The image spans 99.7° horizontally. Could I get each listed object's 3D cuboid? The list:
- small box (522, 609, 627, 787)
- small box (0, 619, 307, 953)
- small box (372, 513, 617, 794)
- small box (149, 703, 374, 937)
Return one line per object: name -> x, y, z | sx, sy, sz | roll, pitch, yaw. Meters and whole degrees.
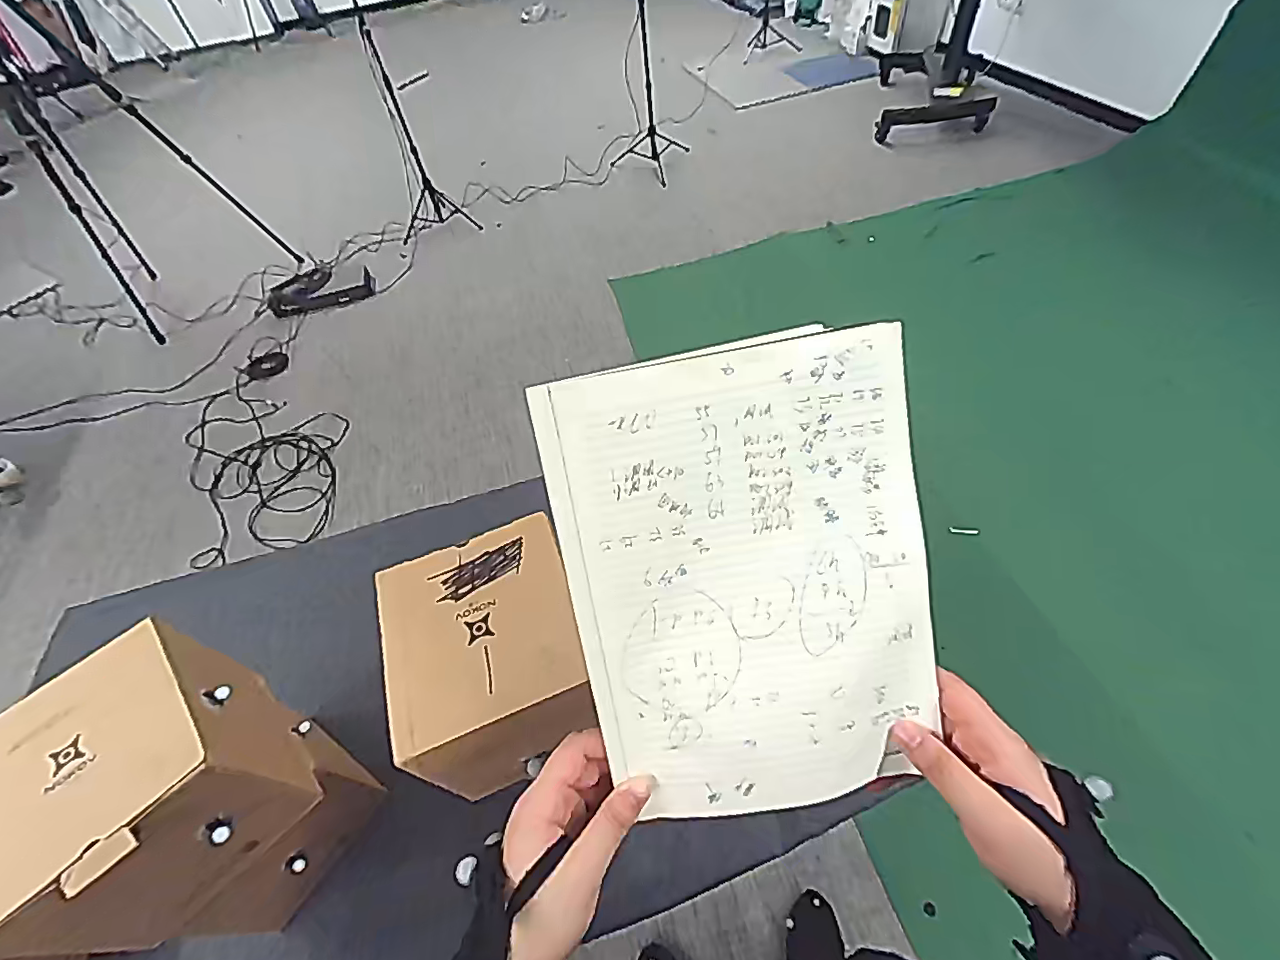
small box -> -0.121, 0.257, 0.655 | 0.179, 0.176, 0.168 | 6, 53, 13
small box -> -0.442, 0.265, 0.480 | 0.168, 0.176, 0.179 | -40, 57, -23
small box -> -0.132, 0.167, 0.516 | 0.168, 0.176, 0.179 | -21, 53, -8
small box -> -0.445, 0.363, 0.611 | 0.179, 0.176, 0.168 | 25, 58, 24
